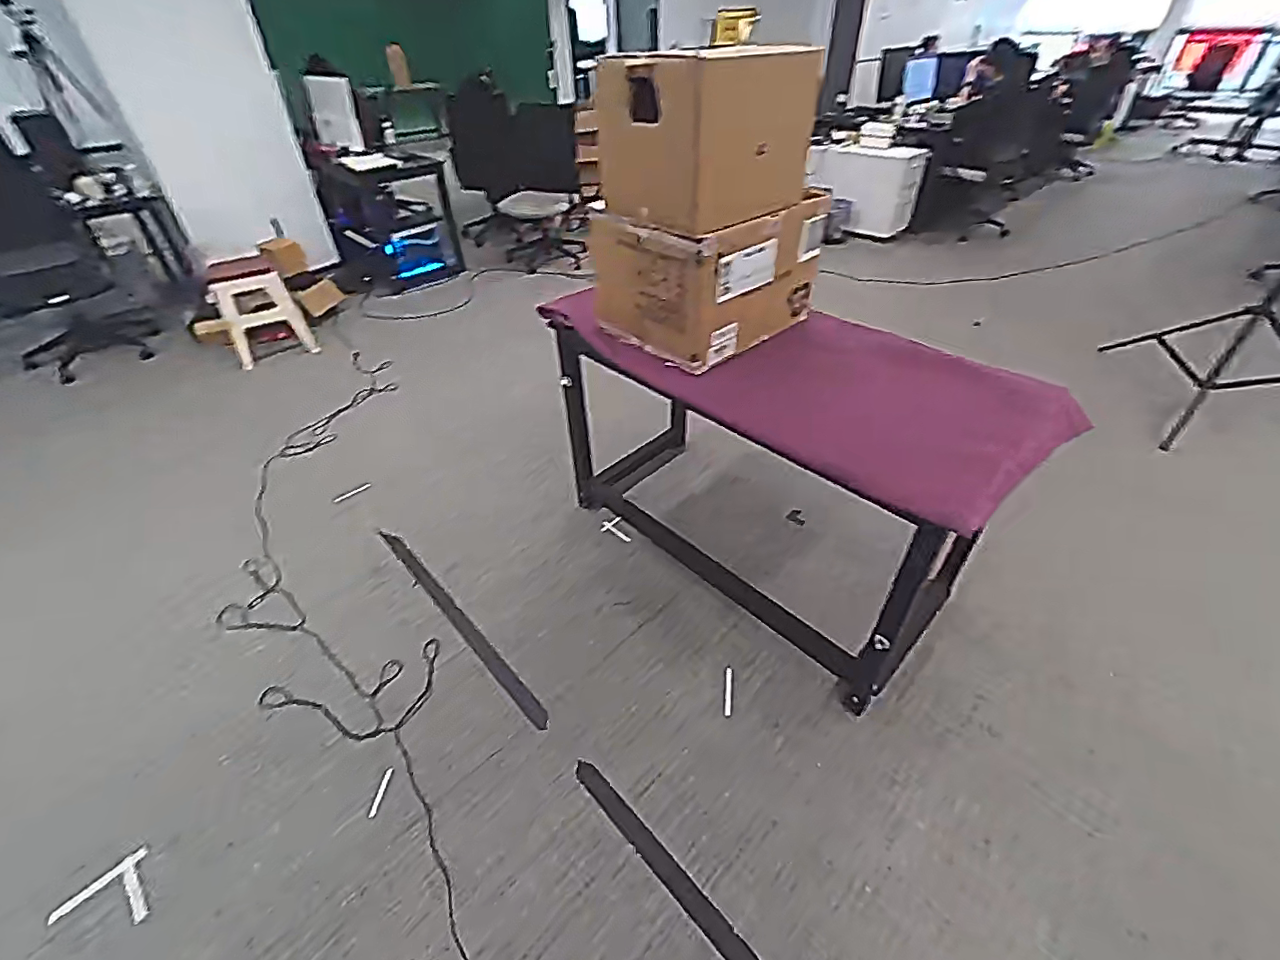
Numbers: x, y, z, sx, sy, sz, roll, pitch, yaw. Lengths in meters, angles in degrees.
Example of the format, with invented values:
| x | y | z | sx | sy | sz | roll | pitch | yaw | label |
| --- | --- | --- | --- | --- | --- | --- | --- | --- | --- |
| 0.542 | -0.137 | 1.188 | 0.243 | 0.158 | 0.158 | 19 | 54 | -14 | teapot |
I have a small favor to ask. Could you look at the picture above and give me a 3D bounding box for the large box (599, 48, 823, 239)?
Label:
| x | y | z | sx | sy | sz | roll | pitch | yaw | label |
| --- | --- | --- | --- | --- | --- | --- | --- | --- | --- |
| 0.162 | -0.789 | 1.251 | 0.408 | 0.320 | 0.320 | -33 | 48 | -31 | large box |
